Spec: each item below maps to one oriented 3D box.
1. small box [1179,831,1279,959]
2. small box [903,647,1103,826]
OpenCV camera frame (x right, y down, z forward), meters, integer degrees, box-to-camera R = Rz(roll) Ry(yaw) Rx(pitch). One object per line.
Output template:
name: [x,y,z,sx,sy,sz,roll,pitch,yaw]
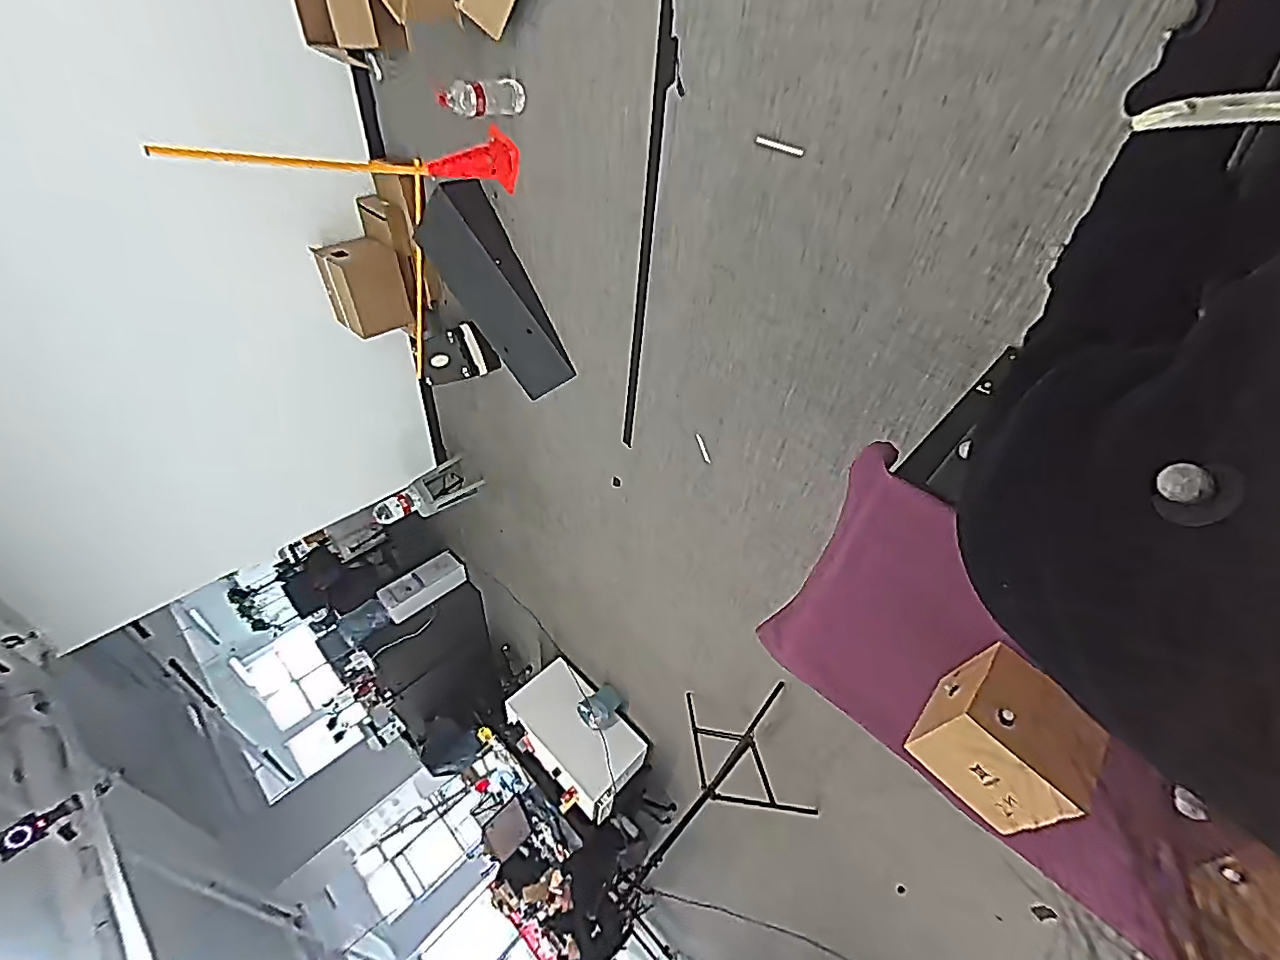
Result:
small box: [0.837,0.587,0.667,0.179,0.176,0.168,35,140,29]
small box: [0.560,0.388,0.842,0.179,0.176,0.168,40,143,21]
